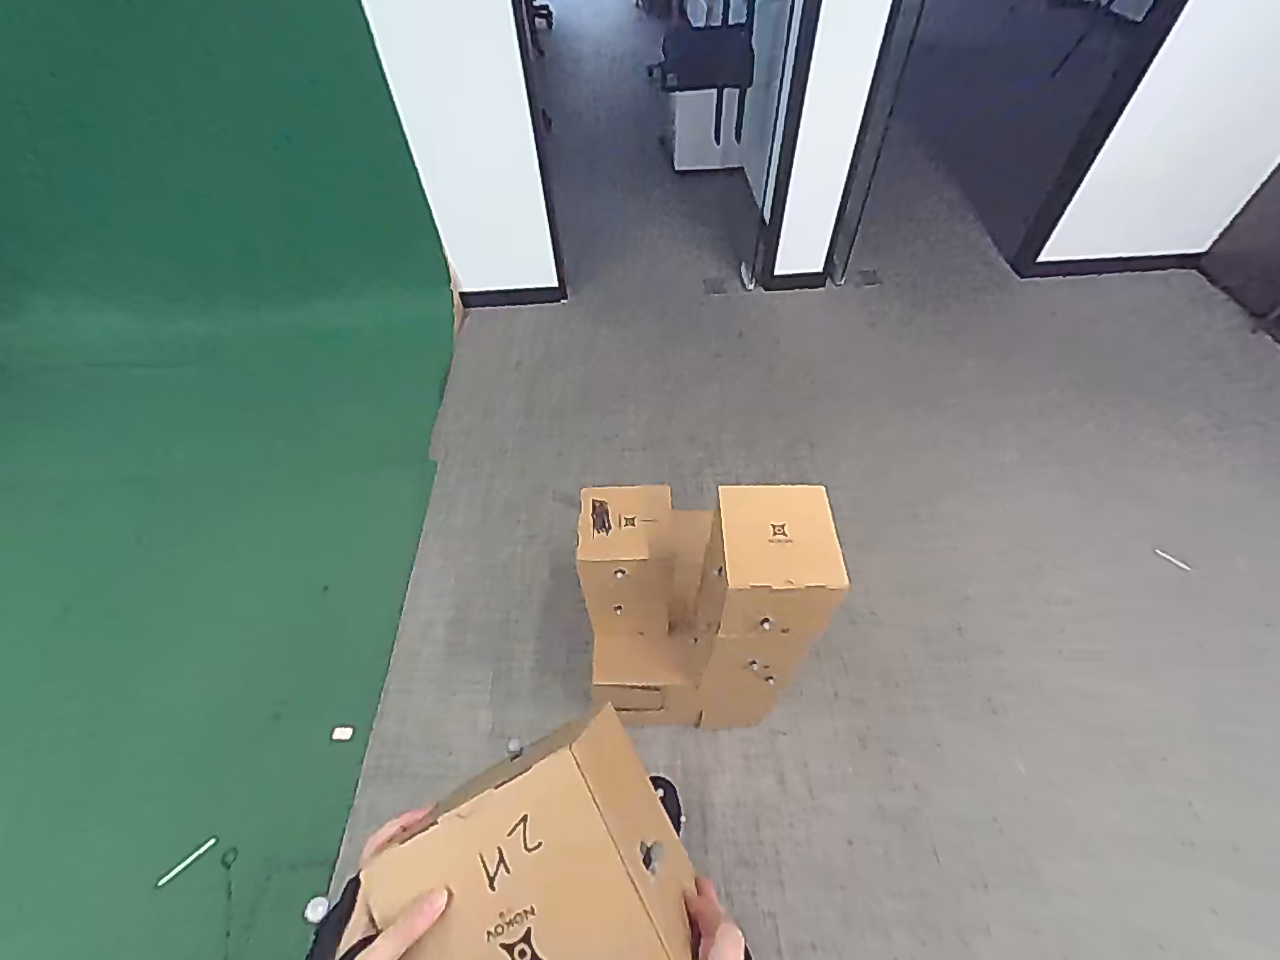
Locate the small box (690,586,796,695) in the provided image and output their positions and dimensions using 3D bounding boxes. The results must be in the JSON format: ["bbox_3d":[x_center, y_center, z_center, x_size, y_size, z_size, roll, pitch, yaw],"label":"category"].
[{"bbox_3d":[0.199,0.327,1.102,0.179,0.176,0.168,-2,50,0],"label":"small box"}]

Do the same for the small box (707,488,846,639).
[{"bbox_3d":[0.198,0.130,0.841,0.168,0.176,0.179,-1,51,1],"label":"small box"}]

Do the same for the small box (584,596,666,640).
[{"bbox_3d":[-0.028,0.234,1.186,0.168,0.176,0.179,-2,50,2],"label":"small box"}]

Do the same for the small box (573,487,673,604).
[{"bbox_3d":[-0.028,0.131,1.055,0.179,0.176,0.168,-3,51,1],"label":"small box"}]
